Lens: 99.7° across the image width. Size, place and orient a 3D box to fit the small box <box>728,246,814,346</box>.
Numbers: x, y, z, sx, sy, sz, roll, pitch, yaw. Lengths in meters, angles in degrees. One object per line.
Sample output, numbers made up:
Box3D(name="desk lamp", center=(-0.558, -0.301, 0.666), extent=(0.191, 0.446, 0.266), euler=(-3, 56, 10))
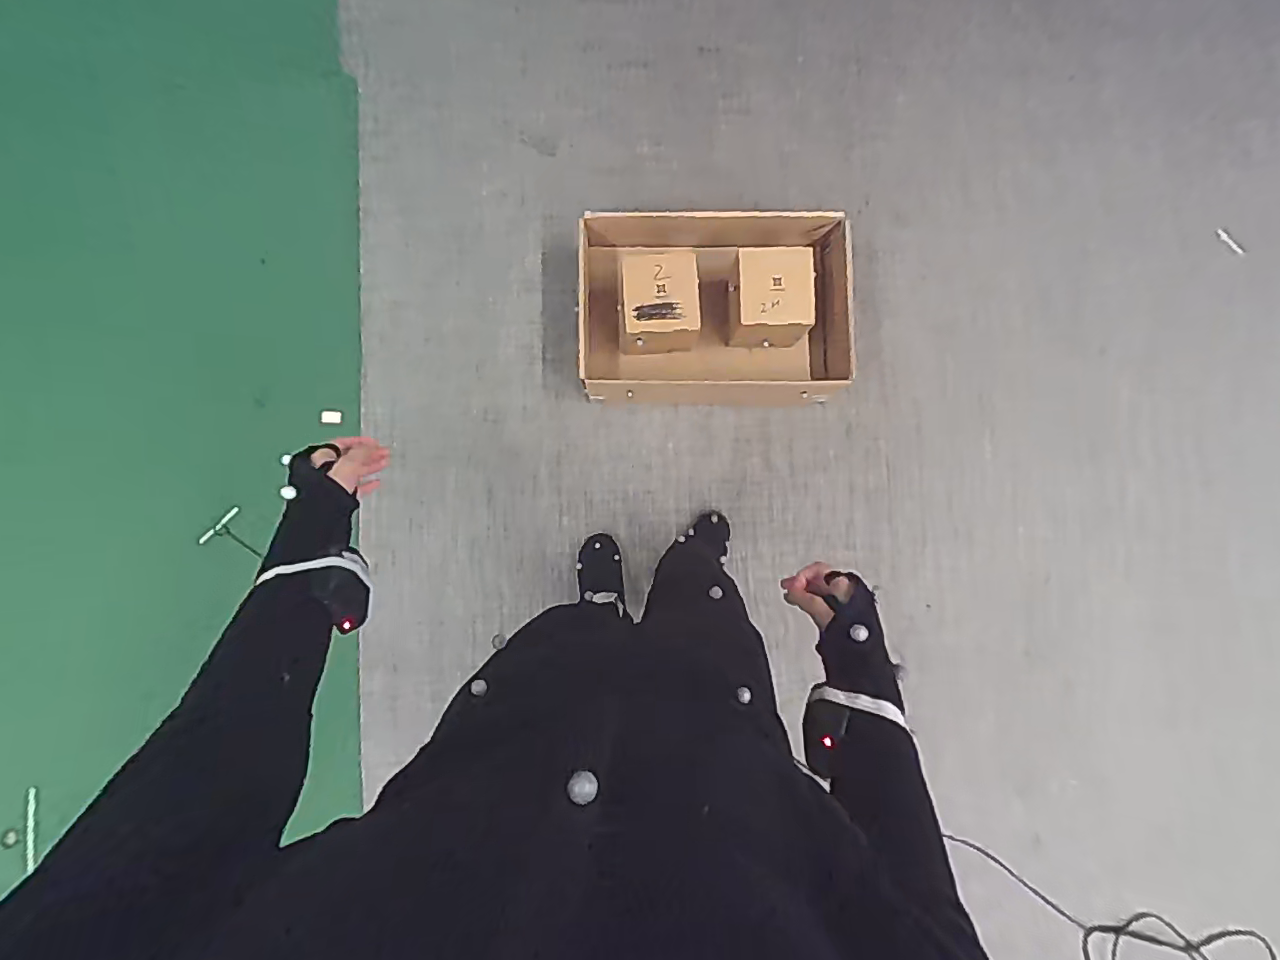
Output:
Box3D(name="small box", center=(0.300, -0.426, 1.270), extent=(0.168, 0.176, 0.179), euler=(0, 87, 1))
